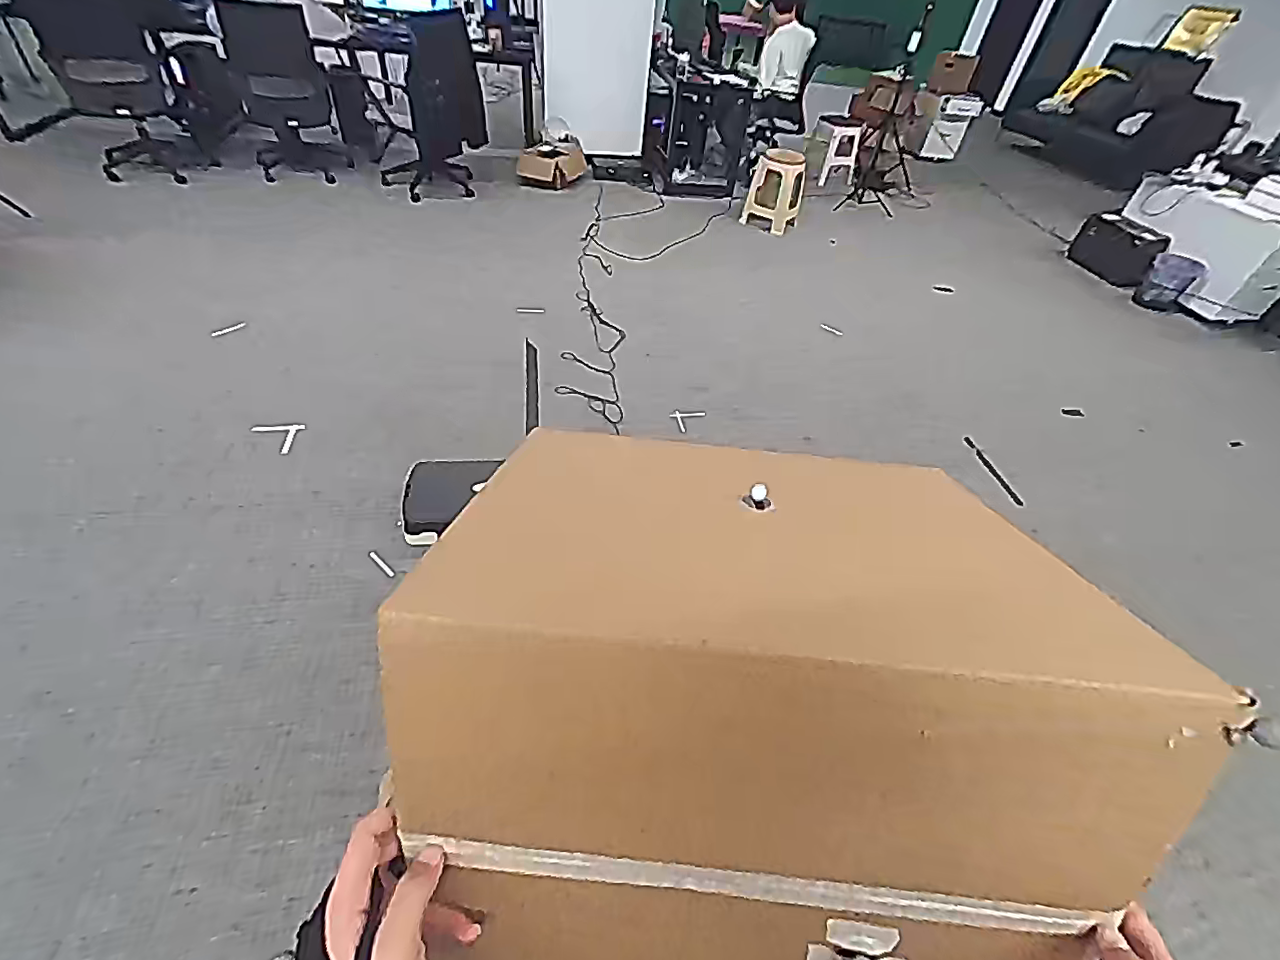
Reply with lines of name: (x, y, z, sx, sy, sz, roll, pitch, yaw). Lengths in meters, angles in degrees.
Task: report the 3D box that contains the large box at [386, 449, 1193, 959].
large box: (0.067, 0.171, 0.456, 0.408, 0.320, 0.320, 5, 23, 1)
